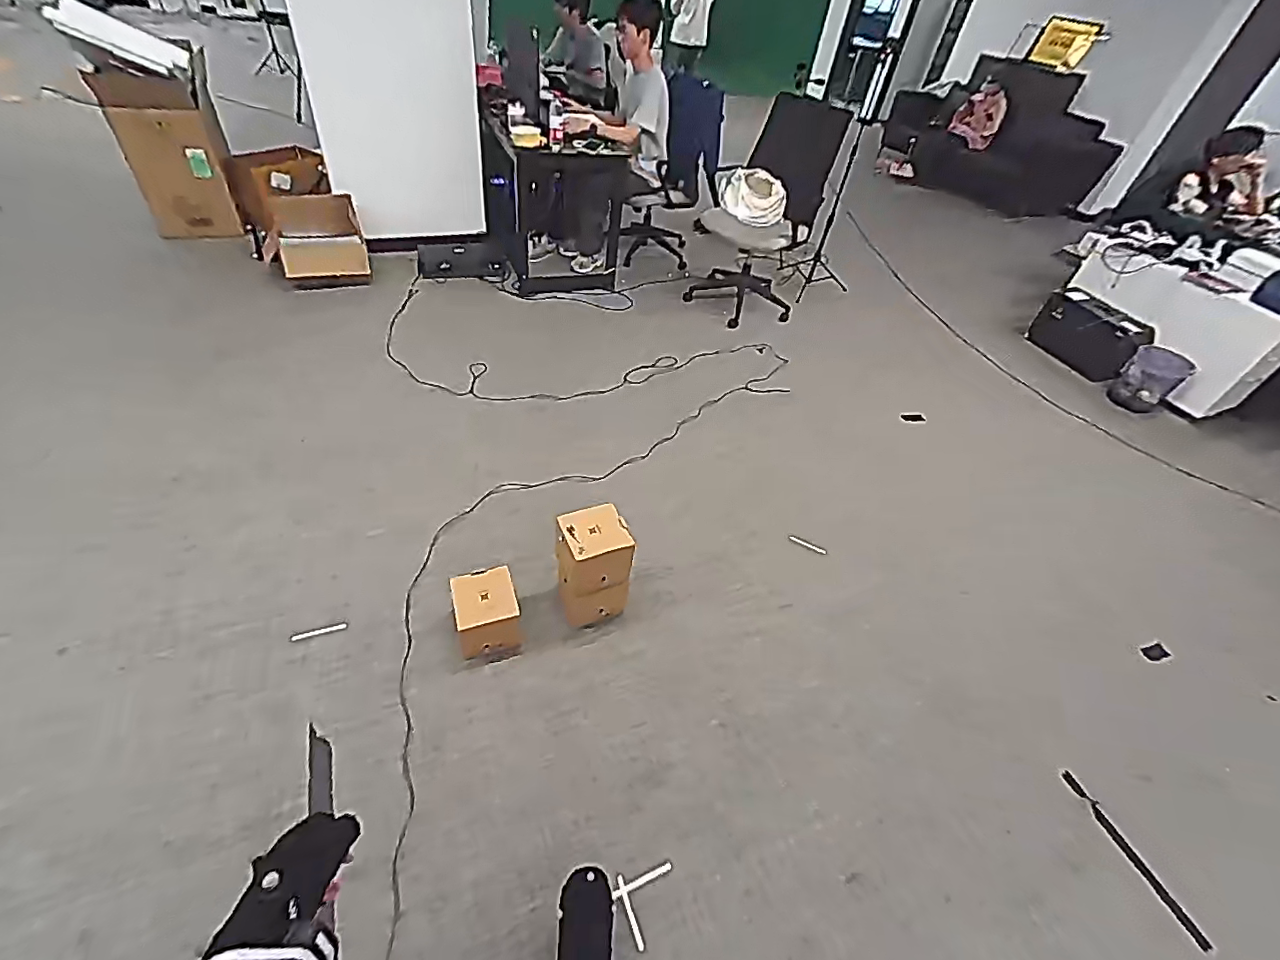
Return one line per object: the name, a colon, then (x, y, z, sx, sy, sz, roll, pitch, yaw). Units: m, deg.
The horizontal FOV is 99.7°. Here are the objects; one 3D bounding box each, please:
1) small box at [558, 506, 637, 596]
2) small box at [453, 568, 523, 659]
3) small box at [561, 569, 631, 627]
small box: (-0.128, 0.205, 1.549, 0.179, 0.176, 0.168, -13, 48, -22)
small box: (-0.436, 0.383, 1.553, 0.168, 0.176, 0.179, -10, 48, -19)
small box: (-0.142, 0.321, 1.665, 0.168, 0.176, 0.179, -13, 49, -21)
